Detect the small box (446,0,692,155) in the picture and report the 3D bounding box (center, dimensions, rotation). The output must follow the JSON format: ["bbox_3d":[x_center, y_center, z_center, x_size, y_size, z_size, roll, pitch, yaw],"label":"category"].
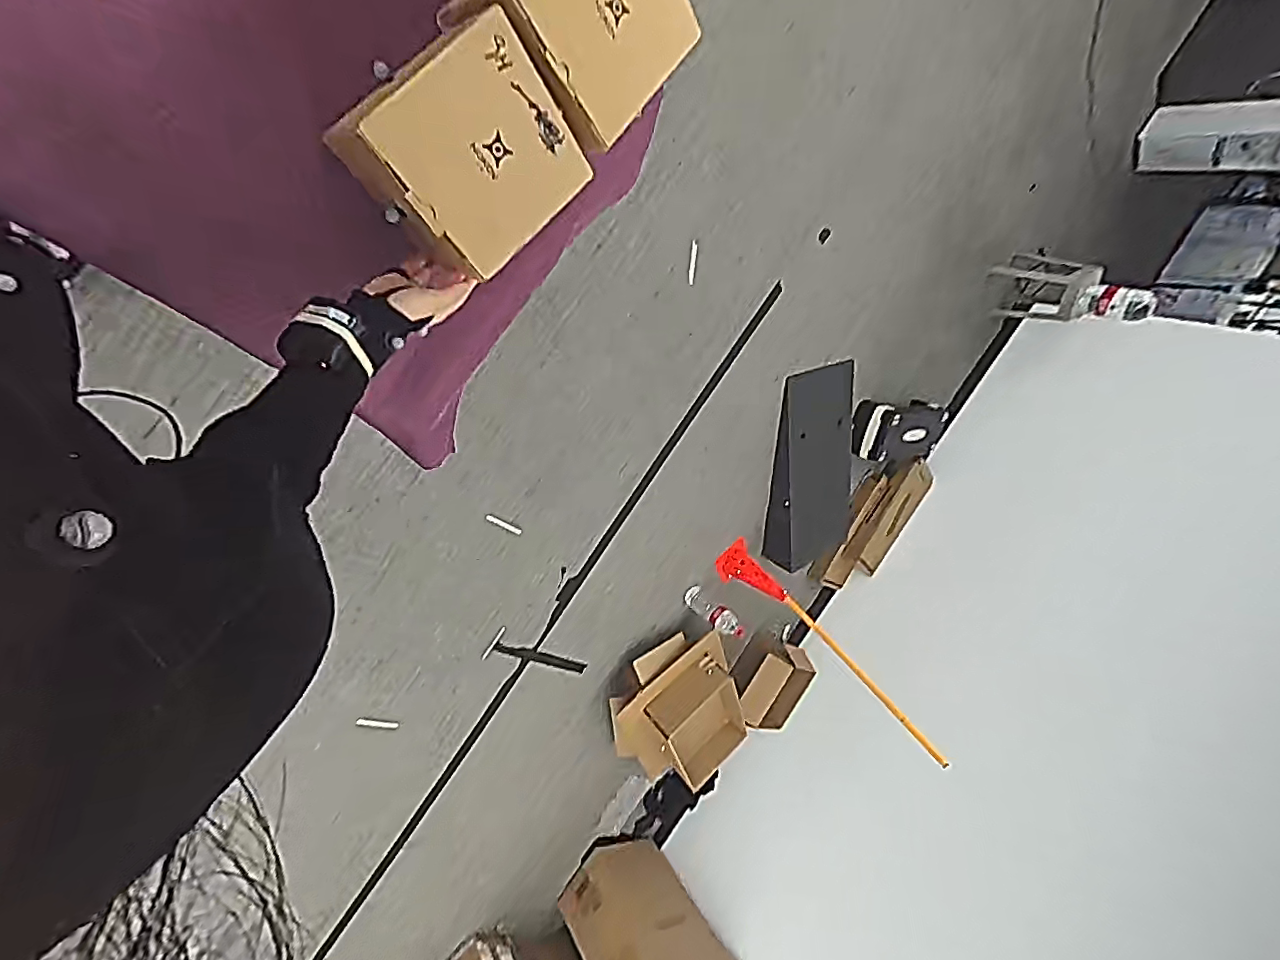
[{"bbox_3d":[-0.081,-0.495,0.599,0.179,0.176,0.168,-53,136,-5],"label":"small box"}]
